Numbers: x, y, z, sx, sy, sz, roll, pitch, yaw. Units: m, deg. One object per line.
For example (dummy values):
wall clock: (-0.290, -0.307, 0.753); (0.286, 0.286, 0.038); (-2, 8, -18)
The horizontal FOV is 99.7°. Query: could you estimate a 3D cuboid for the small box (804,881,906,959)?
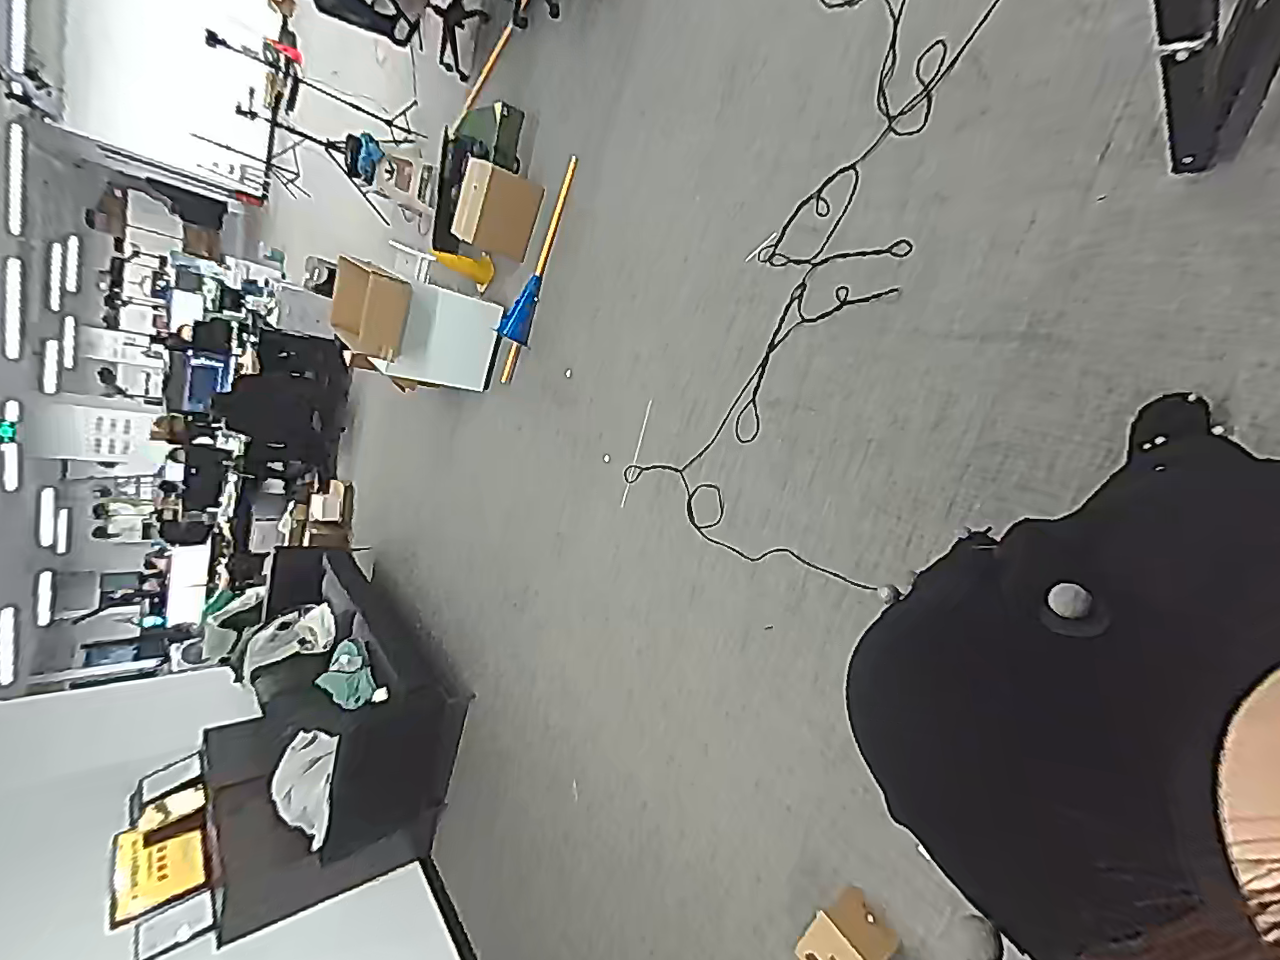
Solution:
small box: (0.584, 1.247, 1.460); (0.168, 0.176, 0.179); (37, 113, 41)
